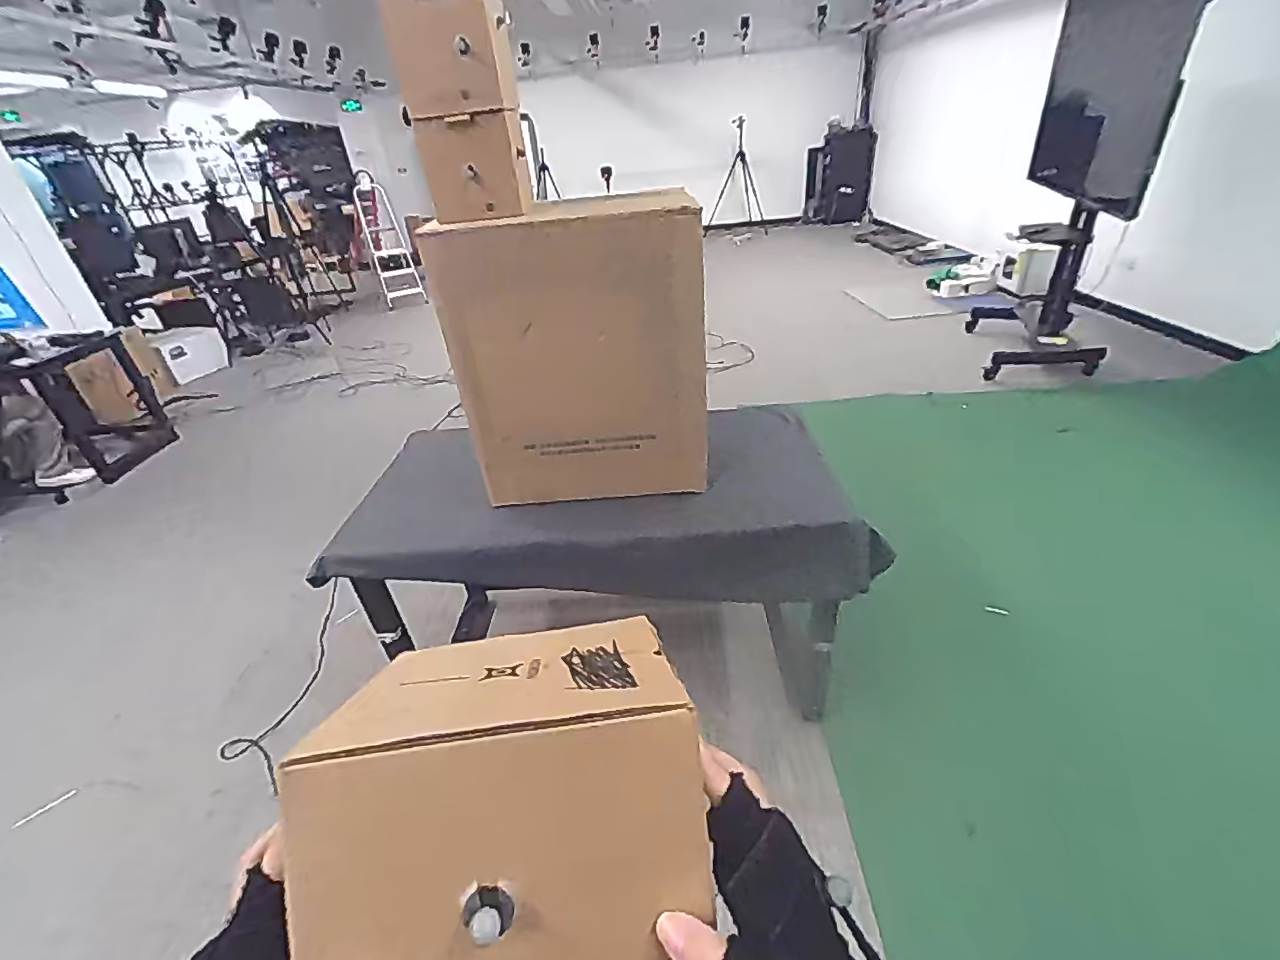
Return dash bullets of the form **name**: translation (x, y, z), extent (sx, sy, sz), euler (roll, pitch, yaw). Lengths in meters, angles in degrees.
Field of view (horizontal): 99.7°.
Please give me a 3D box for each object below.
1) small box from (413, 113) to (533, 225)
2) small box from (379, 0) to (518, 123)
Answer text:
- **small box**: translation (-0.309, -0.597, 1.041), extent (0.168, 0.176, 0.179), euler (-5, 35, 0)
- **small box**: translation (-0.319, -0.727, 0.944), extent (0.168, 0.176, 0.179), euler (-4, 33, 0)
